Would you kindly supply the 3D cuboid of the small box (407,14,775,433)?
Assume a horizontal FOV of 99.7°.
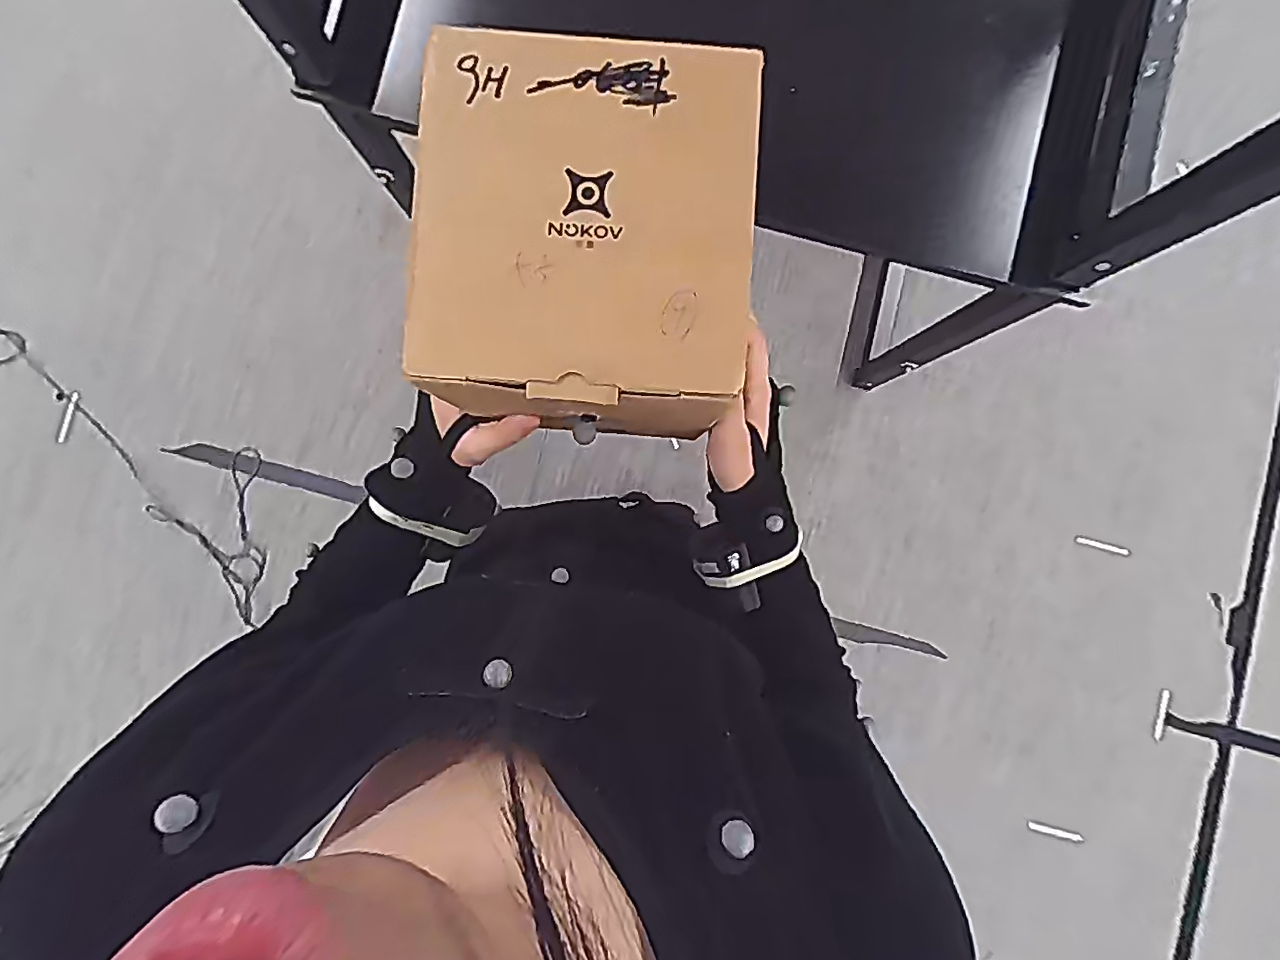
[{"bbox_3d":[-0.025,-0.125,0.334,0.168,0.176,0.179,4,89,-3],"label":"small box"}]
